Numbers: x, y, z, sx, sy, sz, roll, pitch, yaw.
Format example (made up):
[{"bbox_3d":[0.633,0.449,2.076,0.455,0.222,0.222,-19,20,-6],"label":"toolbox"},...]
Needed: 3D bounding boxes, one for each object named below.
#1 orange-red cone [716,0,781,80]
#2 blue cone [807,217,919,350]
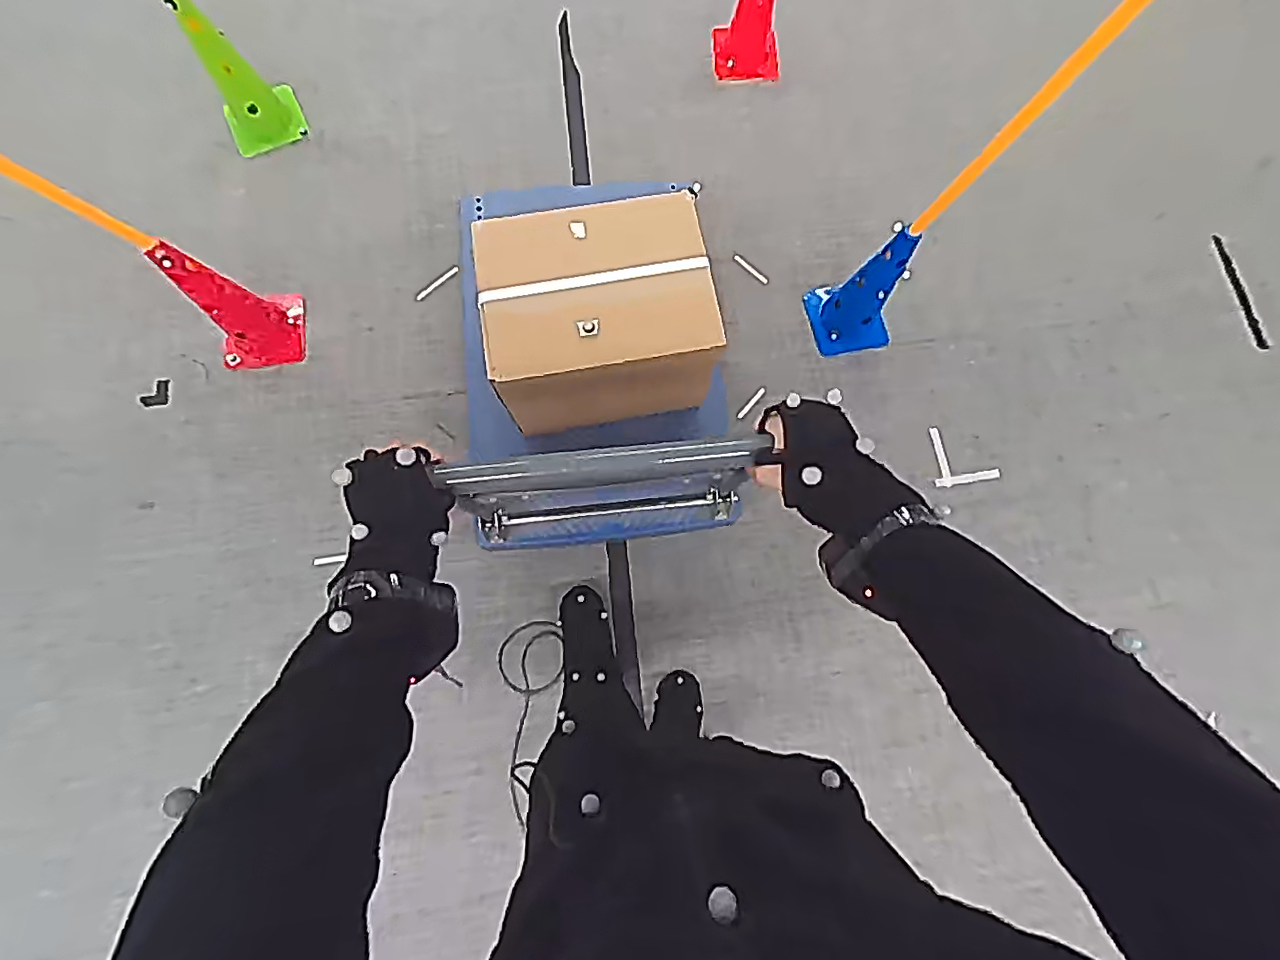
[{"bbox_3d":[0.340,-1.352,1.495,0.199,0.360,0.198,0,78,-3],"label":"orange-red cone"},{"bbox_3d":[0.572,-0.488,1.322,0.193,0.380,0.192,-10,77,-4],"label":"blue cone"}]
